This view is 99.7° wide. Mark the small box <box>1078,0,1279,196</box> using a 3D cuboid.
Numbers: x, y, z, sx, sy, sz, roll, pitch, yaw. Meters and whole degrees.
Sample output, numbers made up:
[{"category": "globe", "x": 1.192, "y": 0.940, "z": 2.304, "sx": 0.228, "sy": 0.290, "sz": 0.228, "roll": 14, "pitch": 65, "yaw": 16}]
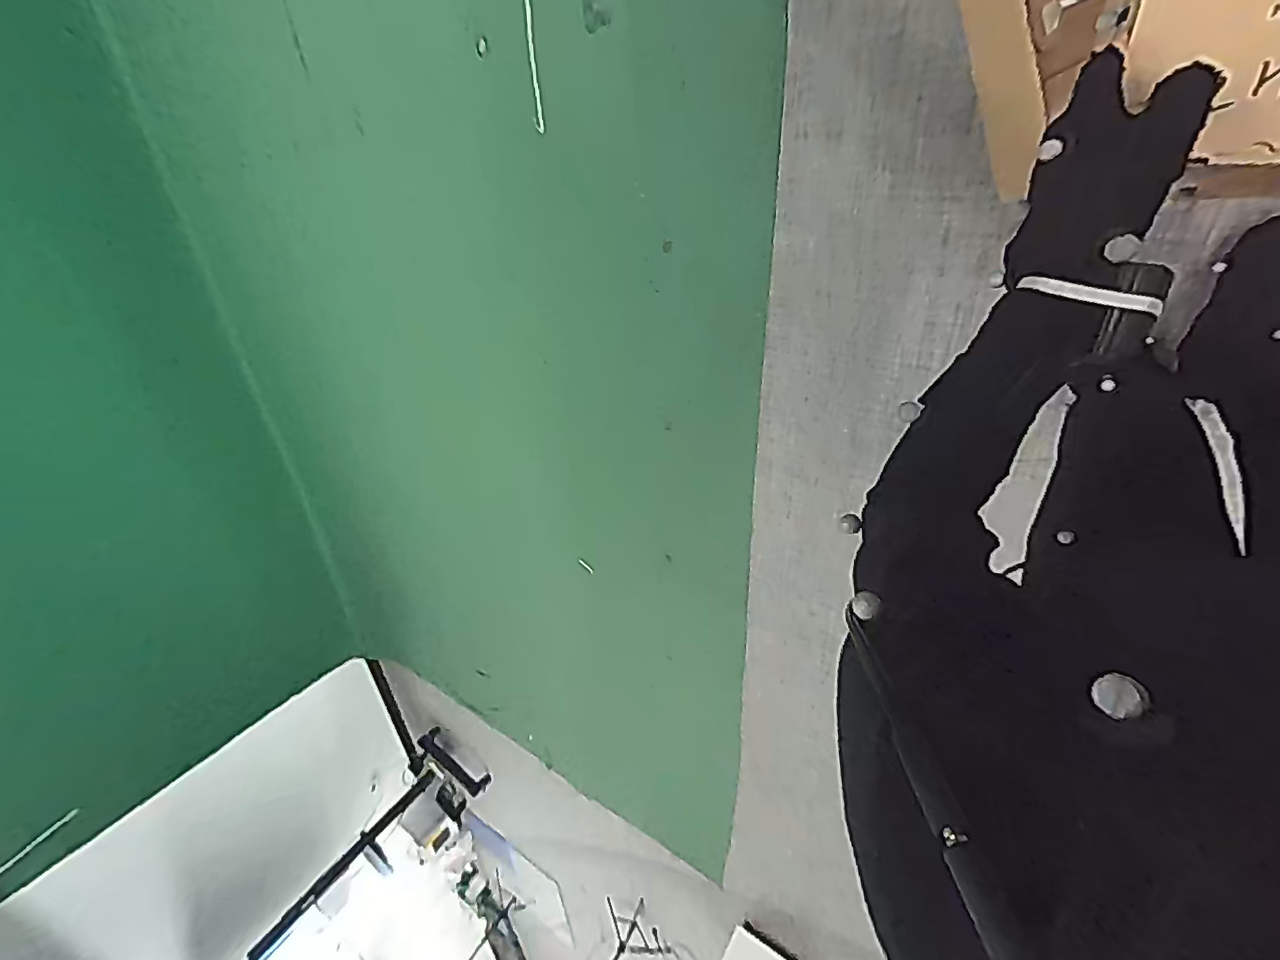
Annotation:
[{"category": "small box", "x": 0.435, "y": -0.309, "z": 0.372, "sx": 0.168, "sy": 0.176, "sz": 0.179, "roll": 13, "pitch": 112, "yaw": 27}]
